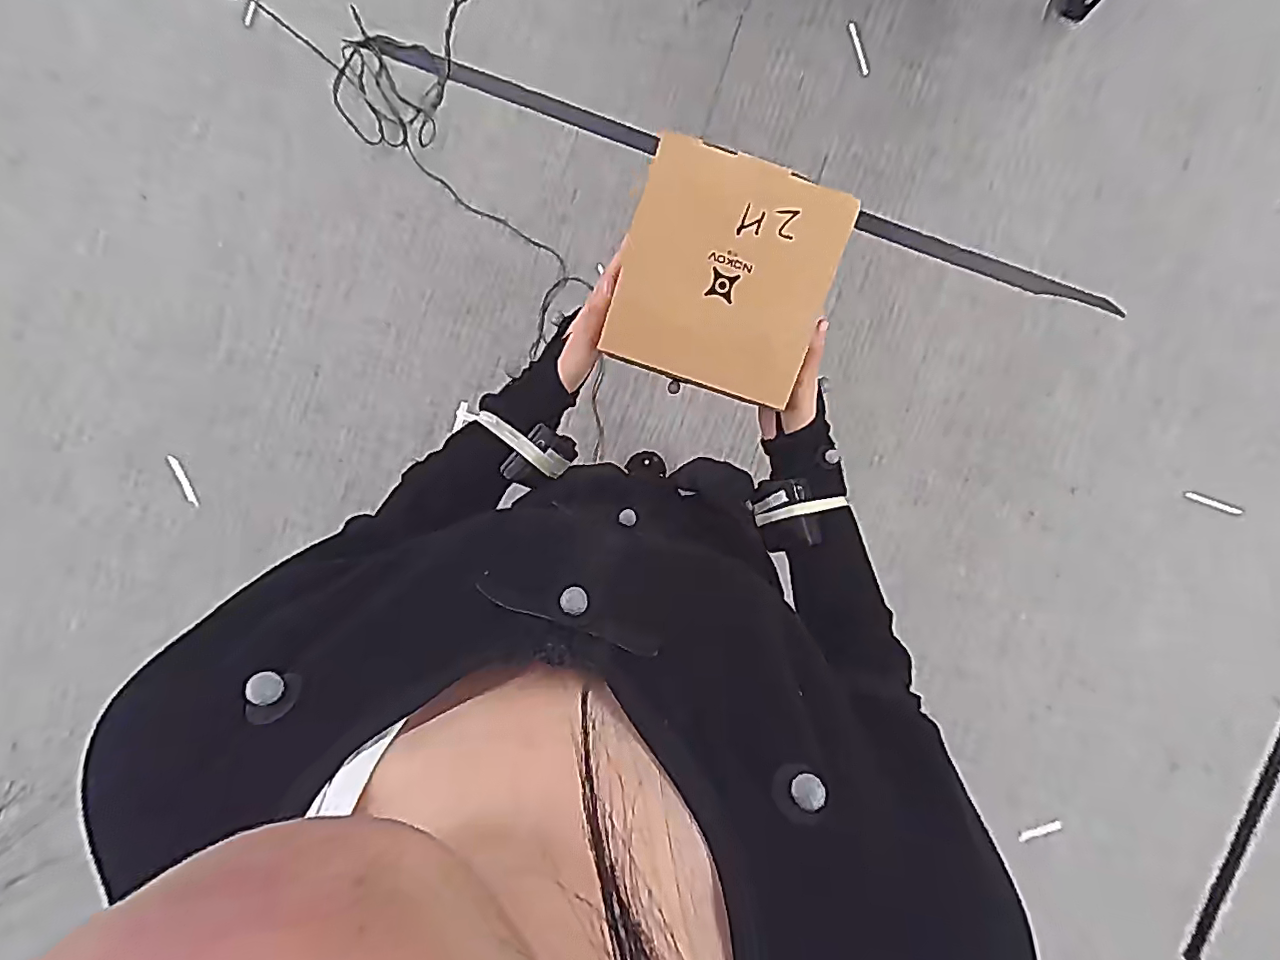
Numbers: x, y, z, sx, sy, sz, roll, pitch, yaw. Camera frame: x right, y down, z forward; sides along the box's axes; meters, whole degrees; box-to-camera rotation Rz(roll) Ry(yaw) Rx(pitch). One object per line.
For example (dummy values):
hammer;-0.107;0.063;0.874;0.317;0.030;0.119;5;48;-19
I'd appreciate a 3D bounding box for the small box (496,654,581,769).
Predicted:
small box;-0.230;0.497;1.142;0.168;0.176;0.179;18;92;0

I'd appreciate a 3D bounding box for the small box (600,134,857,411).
small box;0.070;-0.177;0.516;0.168;0.176;0.179;18;99;-4
